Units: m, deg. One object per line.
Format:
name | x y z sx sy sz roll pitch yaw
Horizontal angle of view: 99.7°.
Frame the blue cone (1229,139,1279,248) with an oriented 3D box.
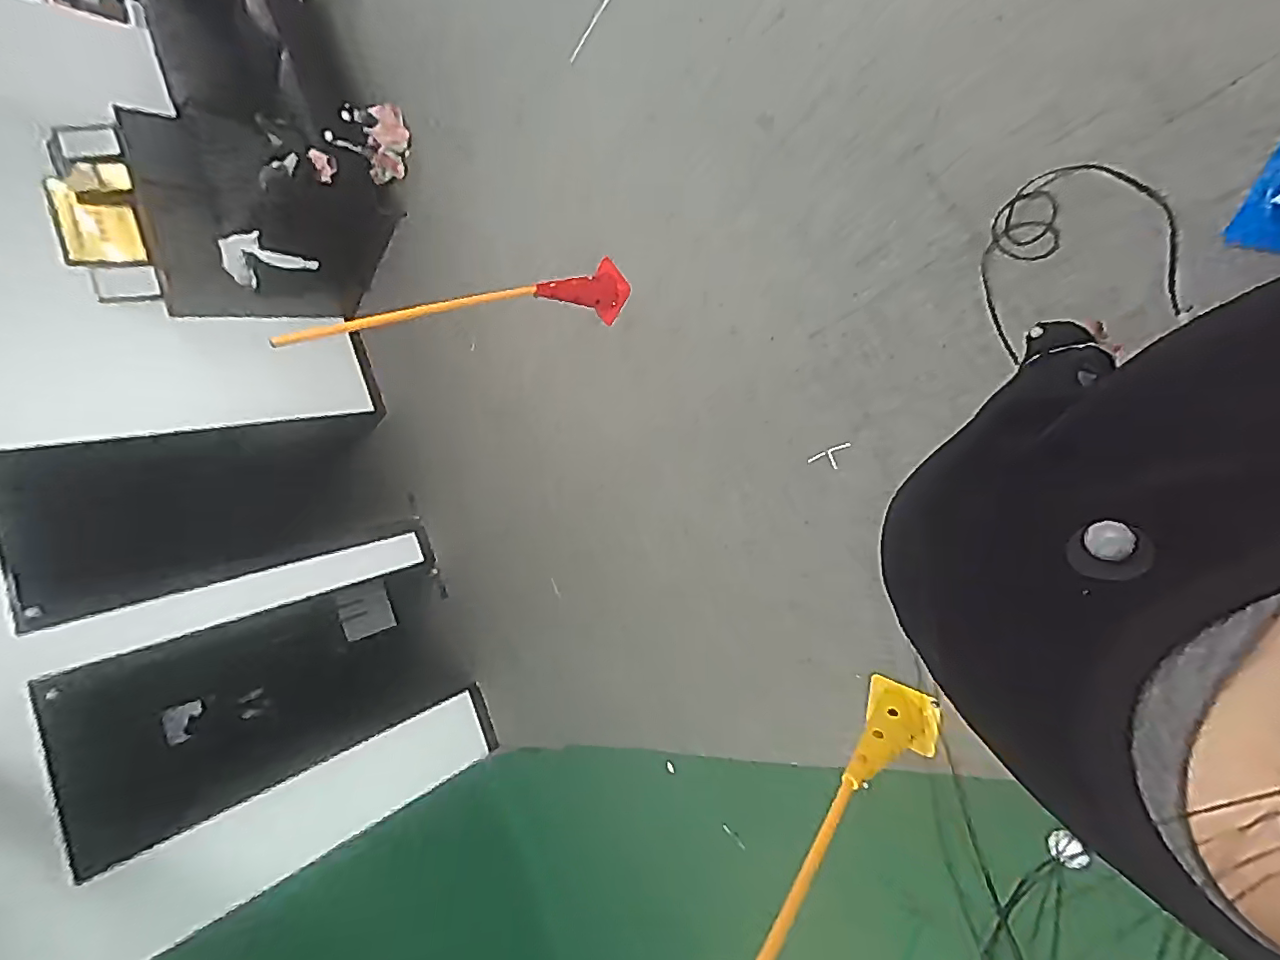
blue cone | 1.023 -0.460 0.783 0.192 0.380 0.193 33 121 36
